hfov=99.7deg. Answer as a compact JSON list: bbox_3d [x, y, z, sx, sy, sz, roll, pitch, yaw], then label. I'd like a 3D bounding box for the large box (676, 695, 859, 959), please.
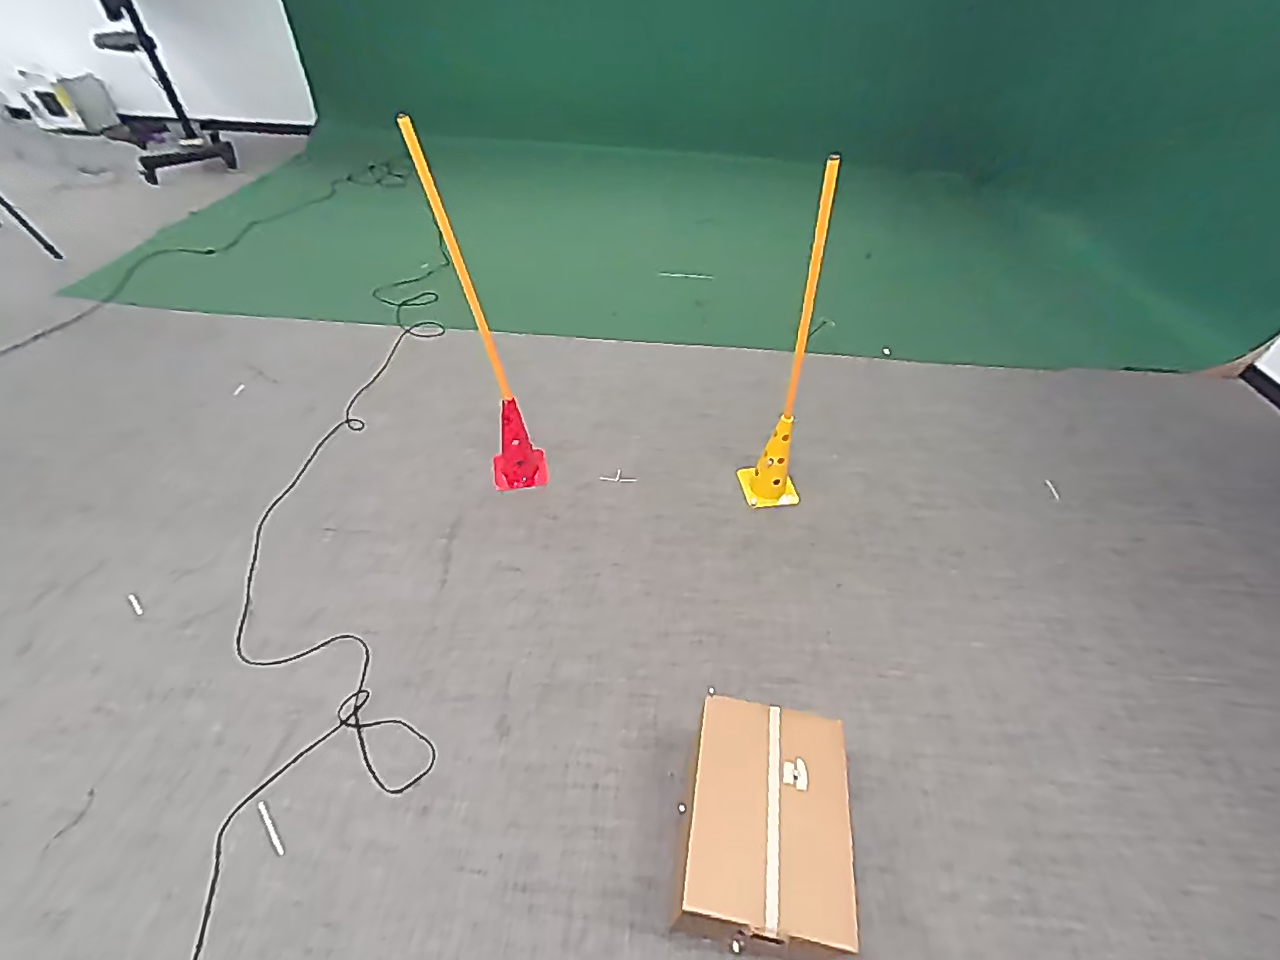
[{"bbox_3d":[0.262,0.760,1.197,0.320,0.320,0.408,10,45,6],"label":"large box"}]
